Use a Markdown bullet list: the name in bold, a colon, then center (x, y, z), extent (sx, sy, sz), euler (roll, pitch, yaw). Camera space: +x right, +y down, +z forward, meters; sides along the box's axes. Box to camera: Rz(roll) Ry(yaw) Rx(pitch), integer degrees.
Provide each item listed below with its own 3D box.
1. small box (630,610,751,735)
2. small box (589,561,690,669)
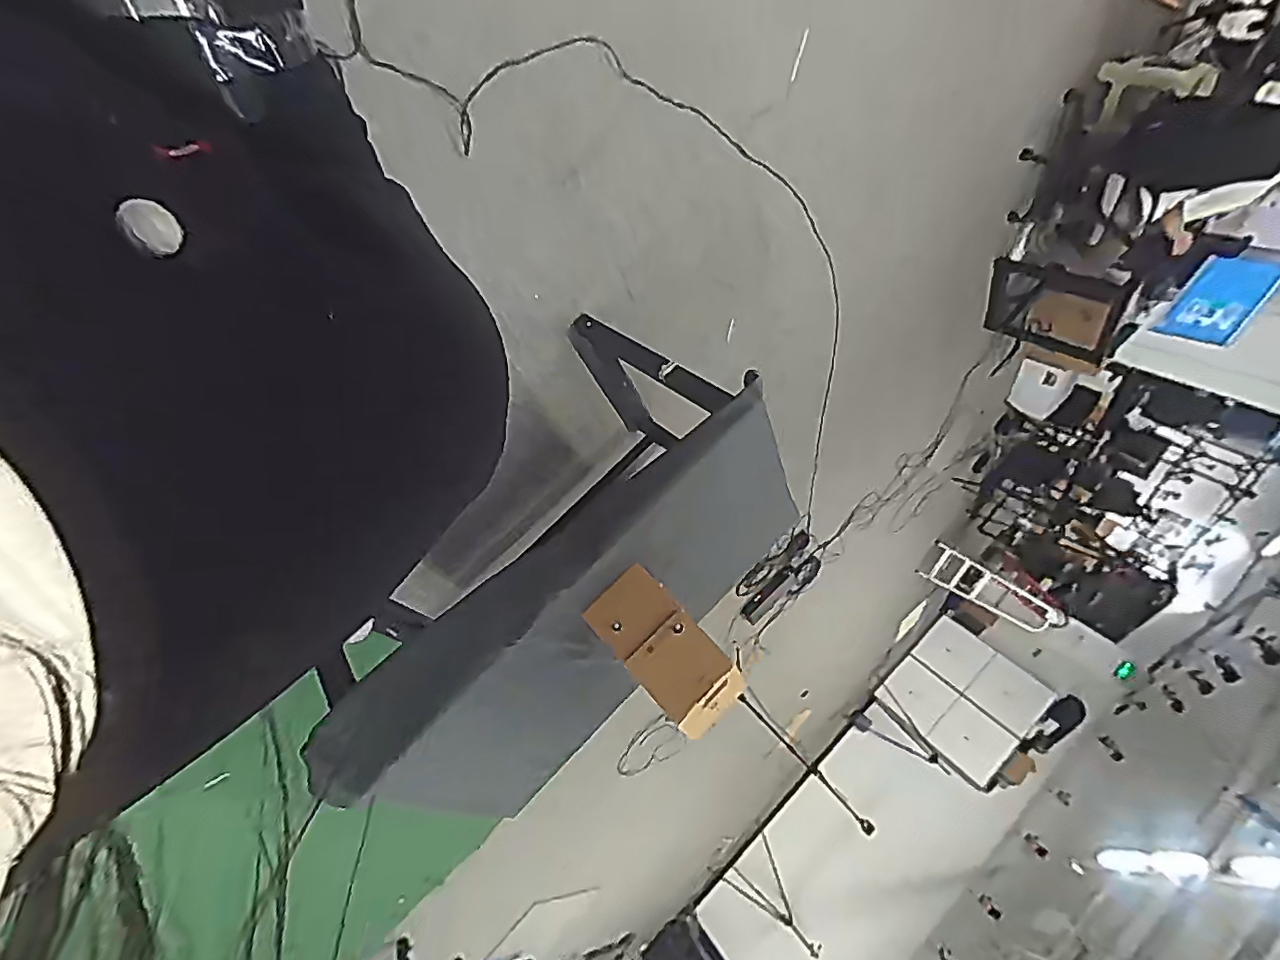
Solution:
- **small box**: center (0.105, 0.403, 1.148), extent (0.168, 0.176, 0.179), euler (-44, 142, -8)
- **small box**: center (0.005, 0.324, 1.251), extent (0.179, 0.176, 0.168), euler (-43, 143, -11)
